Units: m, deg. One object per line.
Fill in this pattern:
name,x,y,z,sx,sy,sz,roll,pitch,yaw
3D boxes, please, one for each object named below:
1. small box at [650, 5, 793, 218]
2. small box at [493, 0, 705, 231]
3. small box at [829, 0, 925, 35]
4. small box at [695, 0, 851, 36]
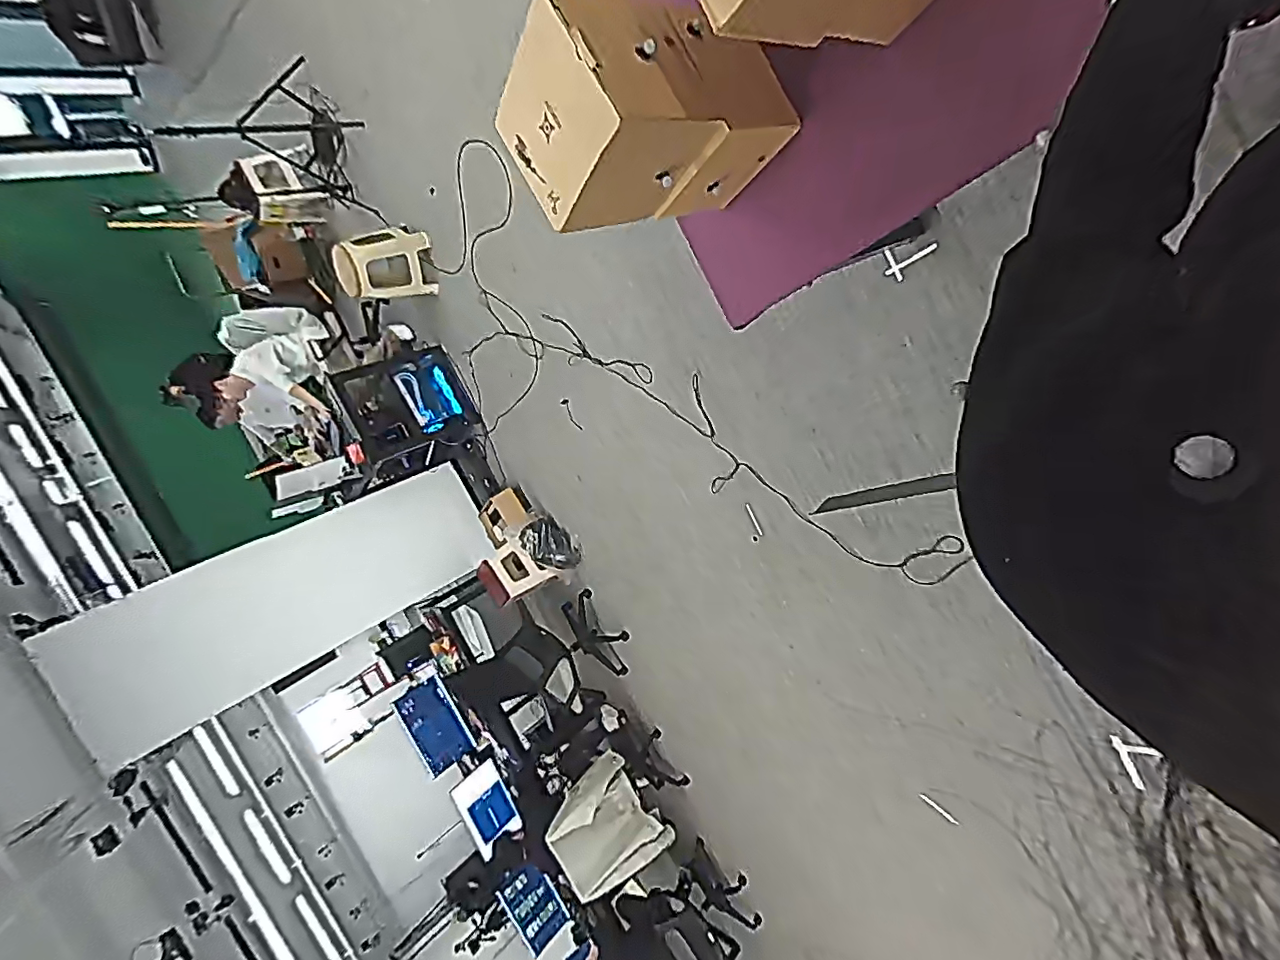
small box,0.078,-0.500,0.748,0.168,0.176,0.179,-27,92,55
small box,-0.045,-0.439,0.657,0.179,0.176,0.168,-31,89,54
small box,0.235,-0.567,0.507,0.179,0.176,0.168,-25,94,54
small box,0.126,-0.489,0.416,0.179,0.176,0.168,-21,99,53
